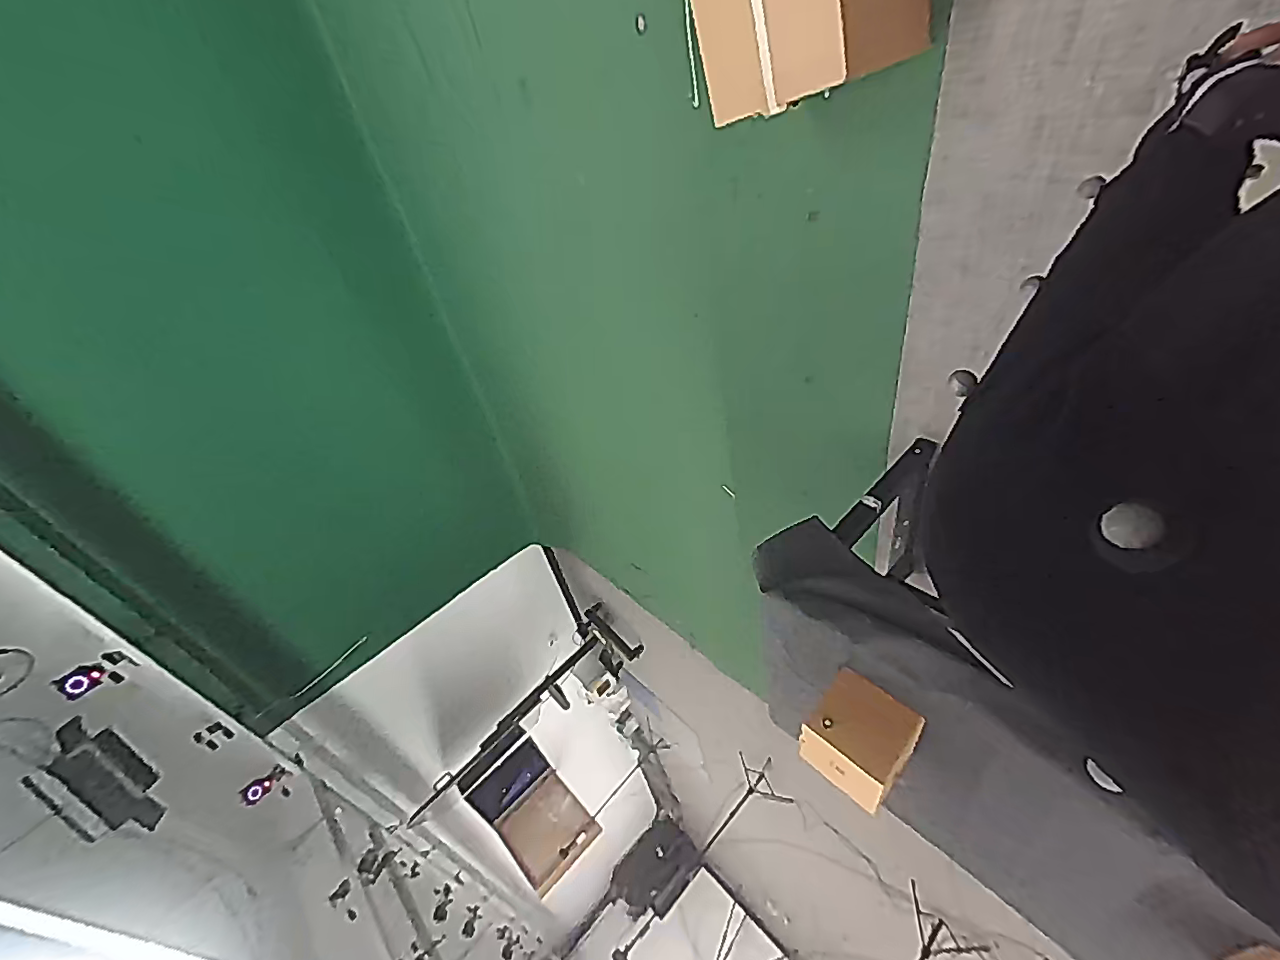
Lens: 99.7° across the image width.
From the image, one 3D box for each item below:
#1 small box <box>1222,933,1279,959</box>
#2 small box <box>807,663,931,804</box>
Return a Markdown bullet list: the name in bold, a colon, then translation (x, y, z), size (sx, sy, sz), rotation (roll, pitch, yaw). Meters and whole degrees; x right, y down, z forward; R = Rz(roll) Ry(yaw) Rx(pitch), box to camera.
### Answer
- **small box**: translation (0.903, 0.763, 0.714), size (0.179, 0.176, 0.168), rotation (29, 145, 42)
- **small box**: translation (0.471, 0.519, 1.123), size (0.179, 0.176, 0.168), rotation (31, 147, 38)
